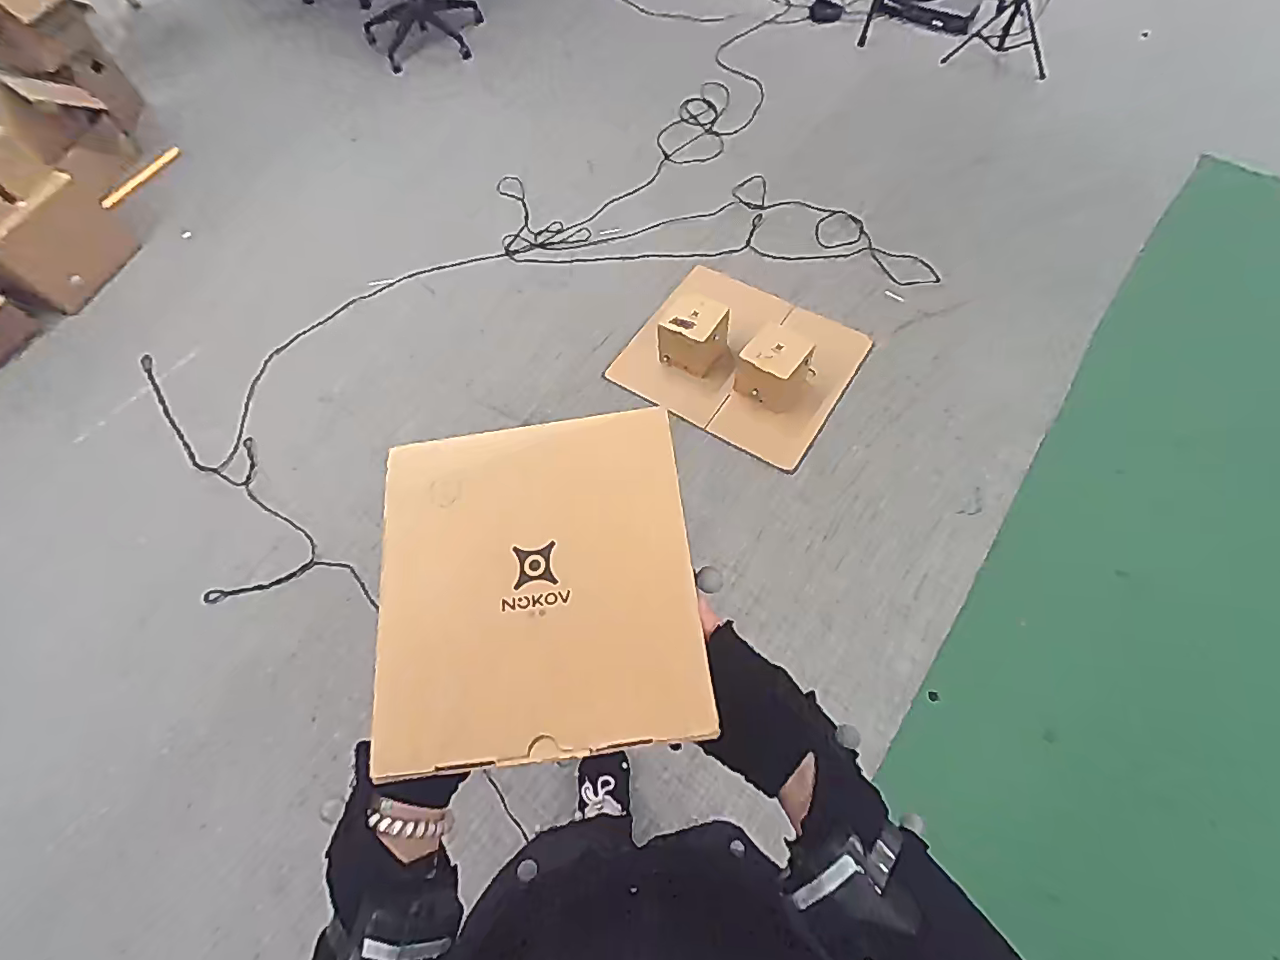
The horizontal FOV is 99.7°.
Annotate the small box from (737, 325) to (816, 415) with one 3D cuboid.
[{"bbox_3d":[0.414,-0.337,1.674,0.168,0.176,0.179,34,70,20],"label":"small box"}]

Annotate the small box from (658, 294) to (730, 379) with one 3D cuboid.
[{"bbox_3d":[0.175,-0.461,1.751,0.168,0.176,0.179,28,67,17],"label":"small box"}]

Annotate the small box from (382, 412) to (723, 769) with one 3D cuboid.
[{"bbox_3d":[-0.045,0.078,0.360,0.168,0.176,0.179,-8,69,1],"label":"small box"}]
